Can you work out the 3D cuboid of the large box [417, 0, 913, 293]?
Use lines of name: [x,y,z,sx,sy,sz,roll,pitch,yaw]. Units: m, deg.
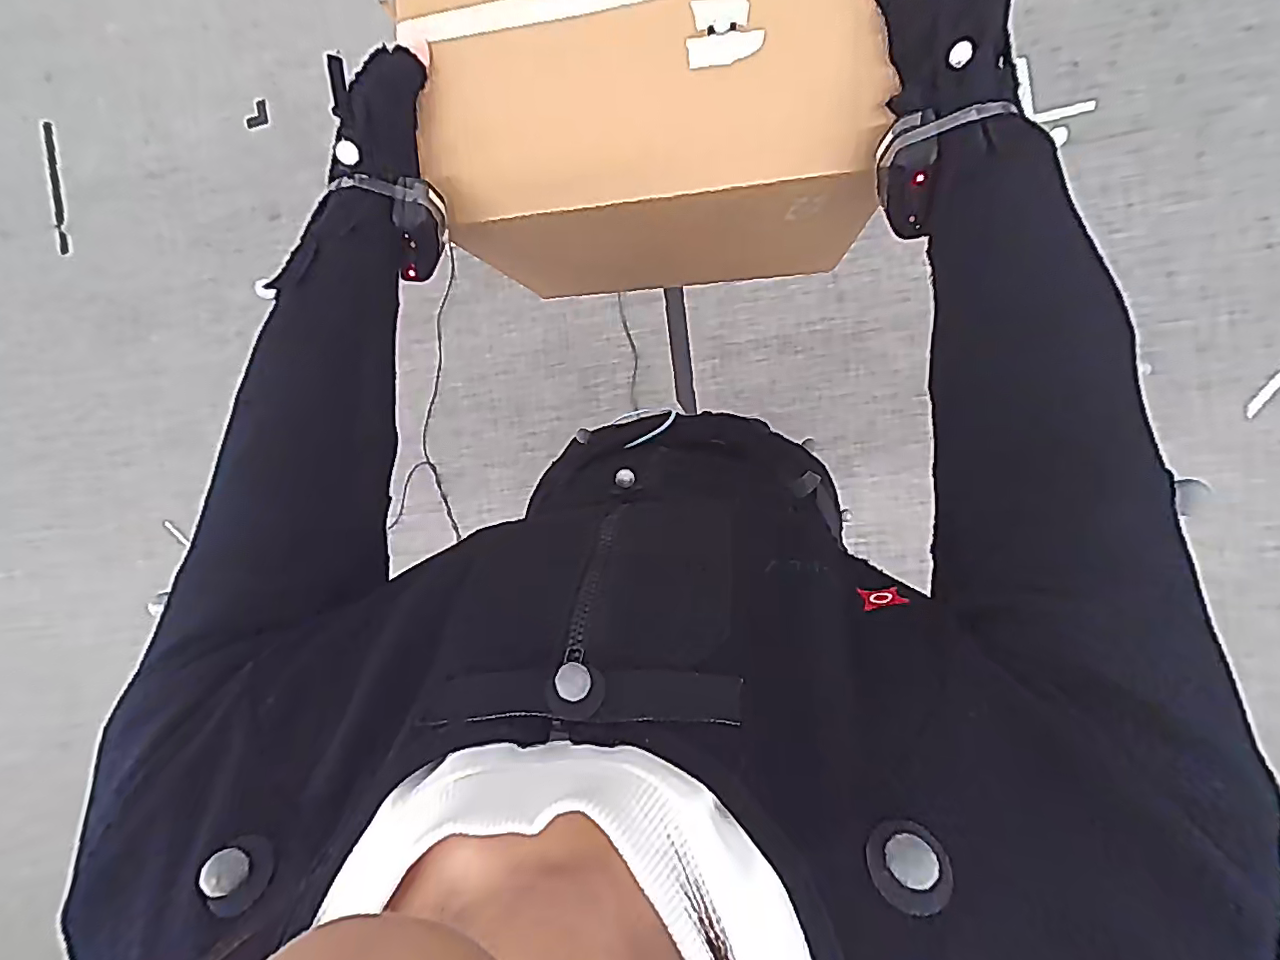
large box: [0.026,-0.411,0.582,0.408,0.320,0.320,-3,97,9]
